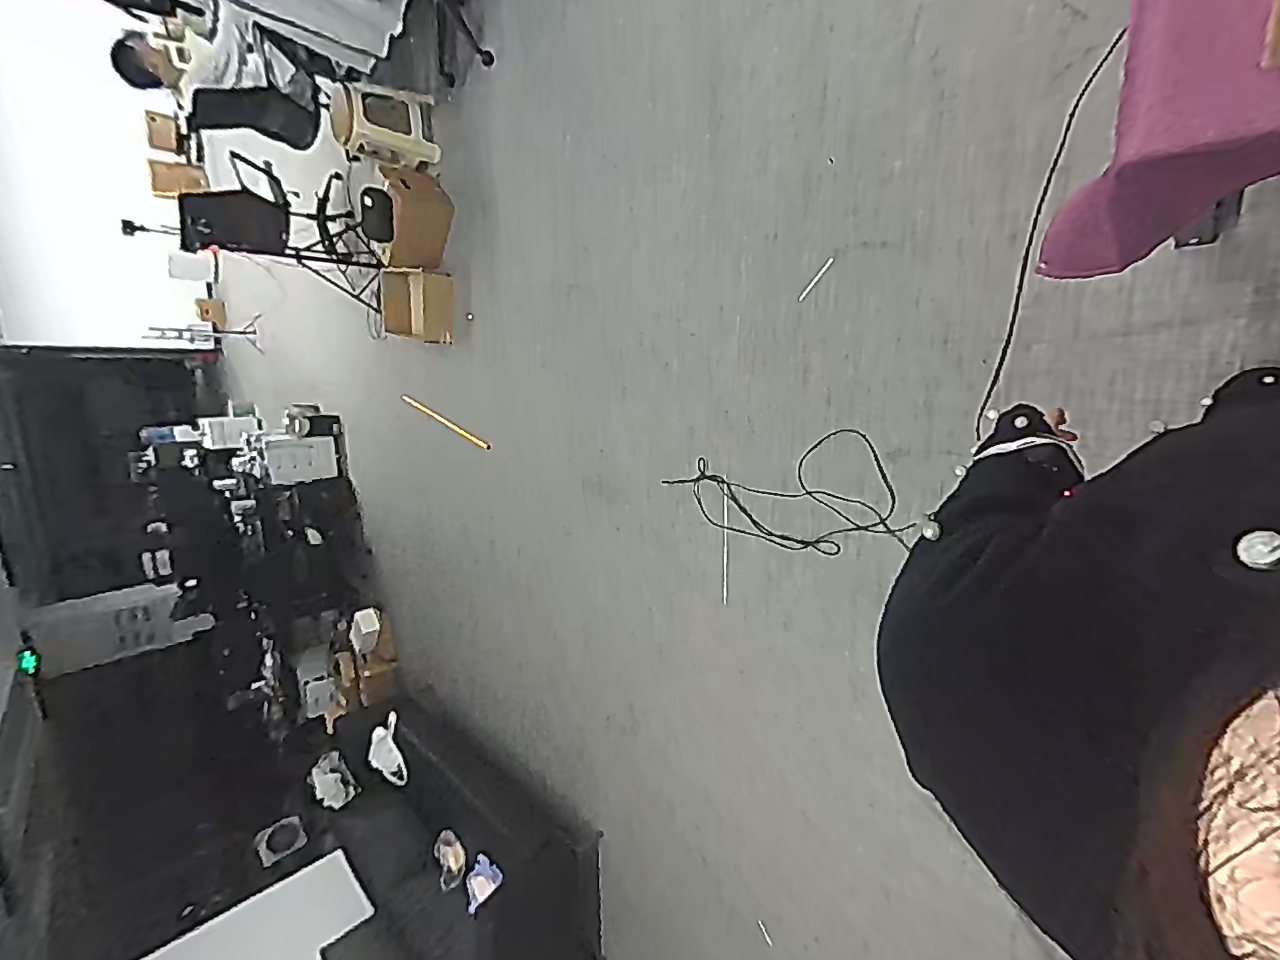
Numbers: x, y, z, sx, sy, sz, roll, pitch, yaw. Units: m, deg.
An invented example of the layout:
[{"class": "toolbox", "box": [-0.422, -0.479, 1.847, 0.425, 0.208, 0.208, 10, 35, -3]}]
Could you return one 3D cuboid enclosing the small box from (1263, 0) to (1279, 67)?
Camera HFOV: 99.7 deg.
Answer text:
[{"class": "small box", "box": [0.576, -0.430, 0.370, 0.179, 0.176, 0.168, 12, 106, 45]}]
